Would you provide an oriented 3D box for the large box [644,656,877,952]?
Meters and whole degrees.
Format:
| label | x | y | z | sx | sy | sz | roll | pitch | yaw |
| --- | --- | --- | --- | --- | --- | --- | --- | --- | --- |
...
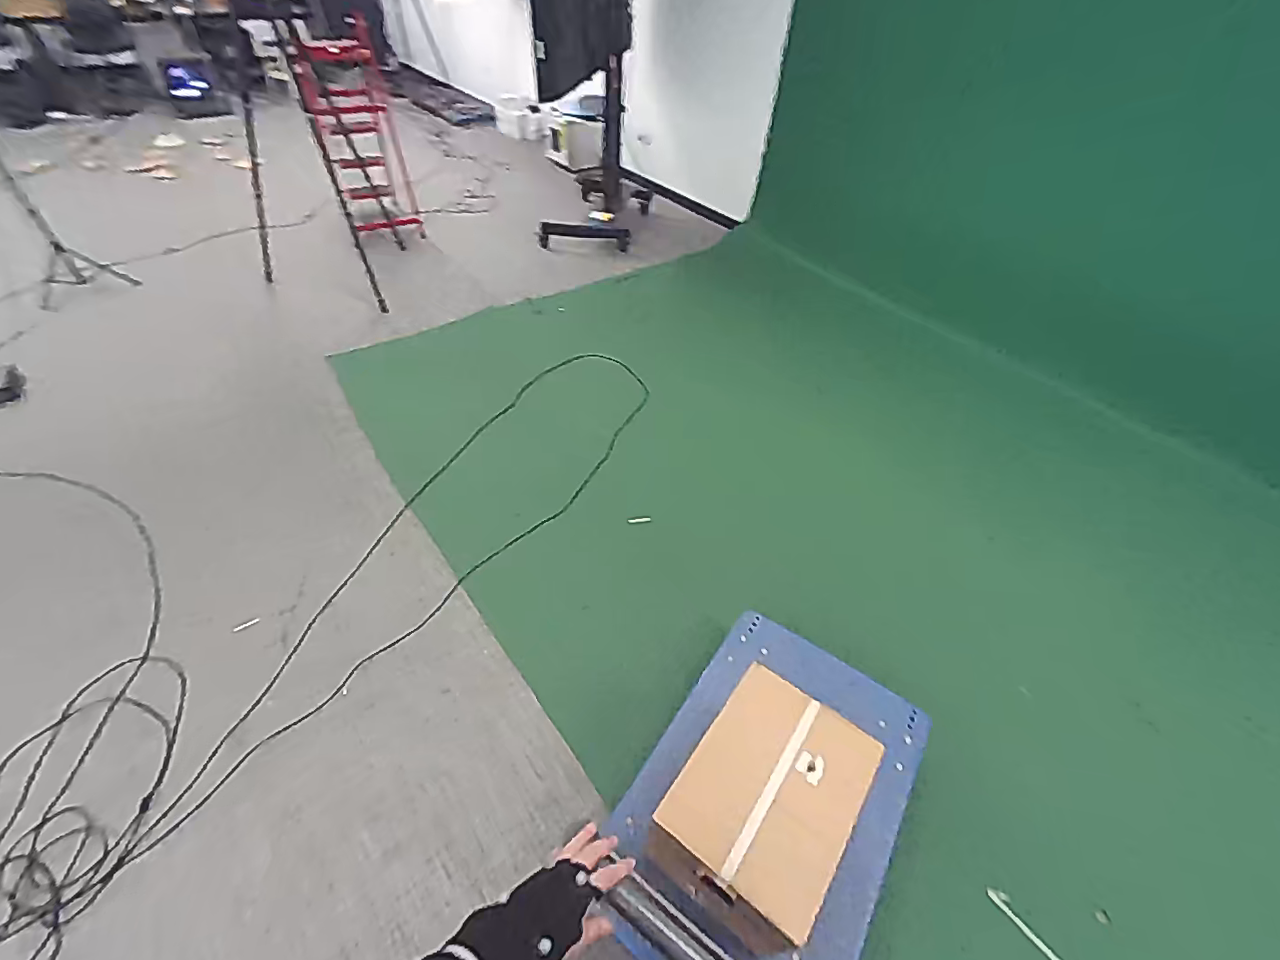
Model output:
| label | x | y | z | sx | sy | sz | roll | pitch | yaw |
| --- | --- | --- | --- | --- | --- | --- | --- | --- | --- |
| large box | 0.247 | 0.685 | 1.169 | 0.320 | 0.320 | 0.408 | 31 | 51 | 23 |
